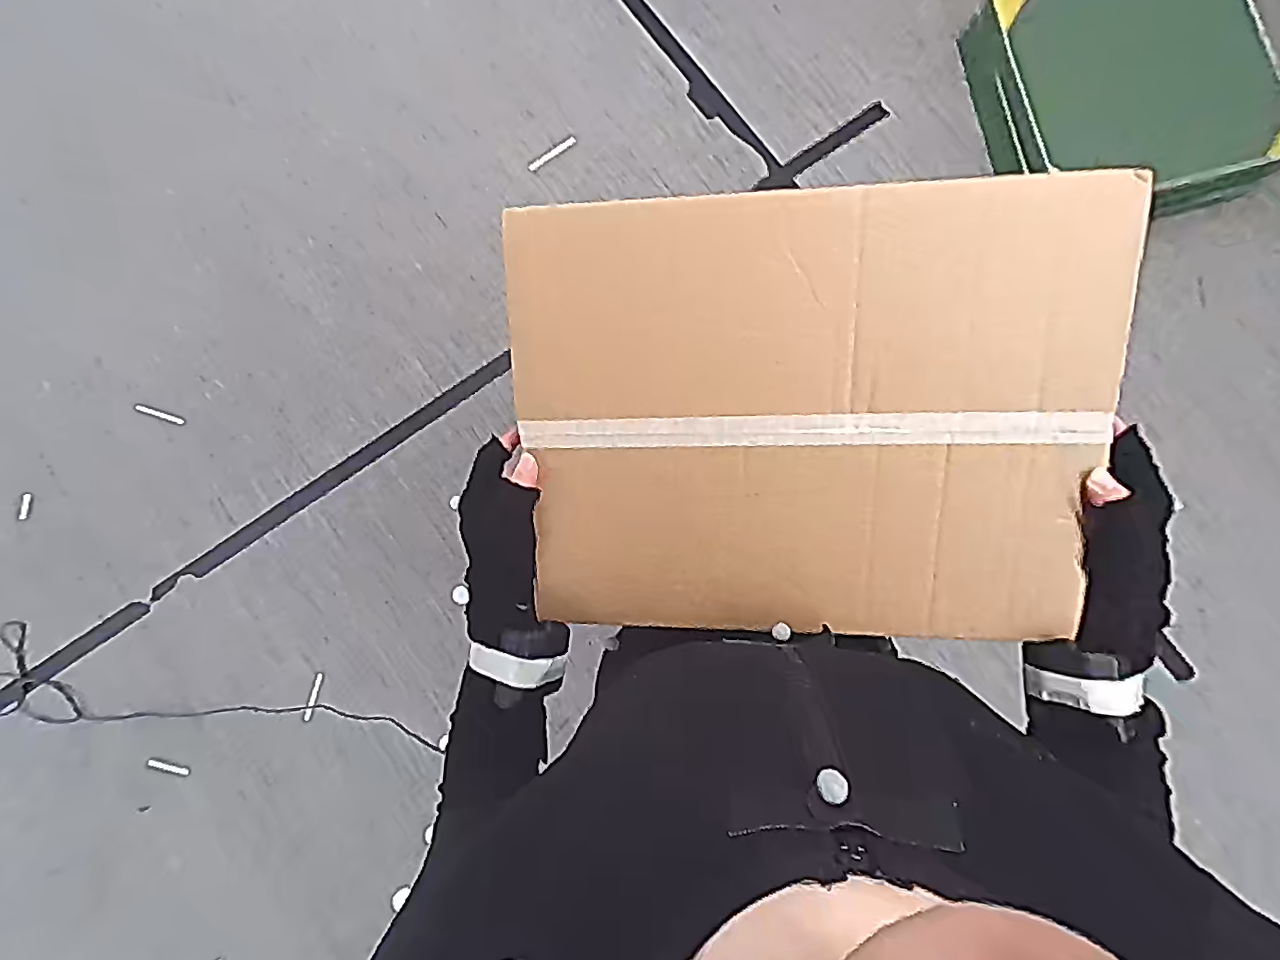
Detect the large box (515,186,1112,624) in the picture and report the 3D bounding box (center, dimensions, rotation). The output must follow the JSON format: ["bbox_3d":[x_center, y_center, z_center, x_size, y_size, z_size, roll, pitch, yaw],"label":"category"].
[{"bbox_3d":[0.126,-0.069,0.544,0.408,0.320,0.320,0,104,7],"label":"large box"}]
